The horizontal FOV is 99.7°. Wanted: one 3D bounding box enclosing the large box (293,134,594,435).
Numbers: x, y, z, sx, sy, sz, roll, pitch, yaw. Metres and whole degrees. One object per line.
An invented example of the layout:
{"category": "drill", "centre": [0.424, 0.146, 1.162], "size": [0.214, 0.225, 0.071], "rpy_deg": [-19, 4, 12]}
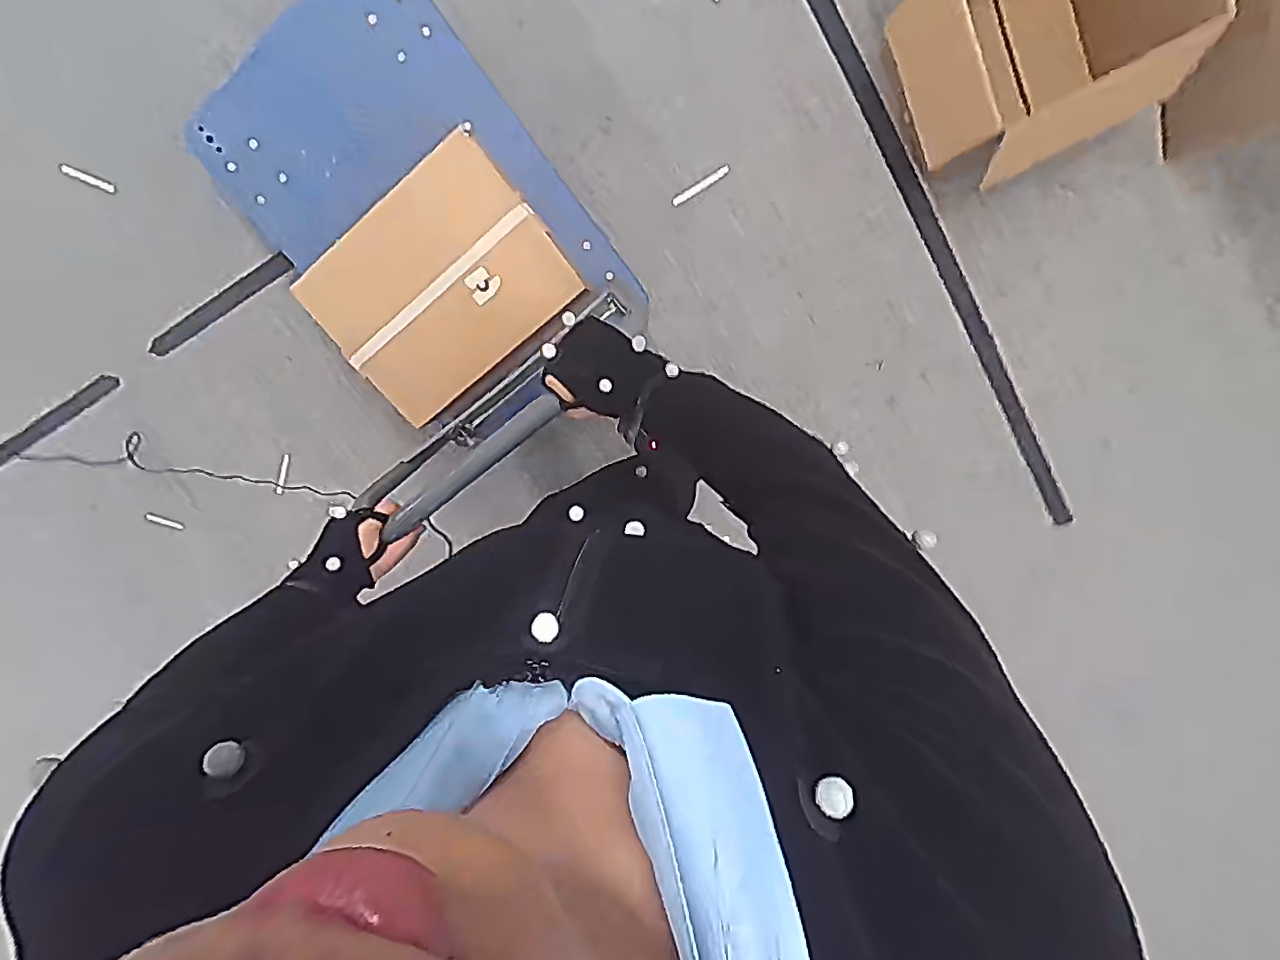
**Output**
{"category": "large box", "centre": [-0.343, -0.349, 1.053], "size": [0.408, 0.320, 0.320], "rpy_deg": [-37, 103, 9]}
